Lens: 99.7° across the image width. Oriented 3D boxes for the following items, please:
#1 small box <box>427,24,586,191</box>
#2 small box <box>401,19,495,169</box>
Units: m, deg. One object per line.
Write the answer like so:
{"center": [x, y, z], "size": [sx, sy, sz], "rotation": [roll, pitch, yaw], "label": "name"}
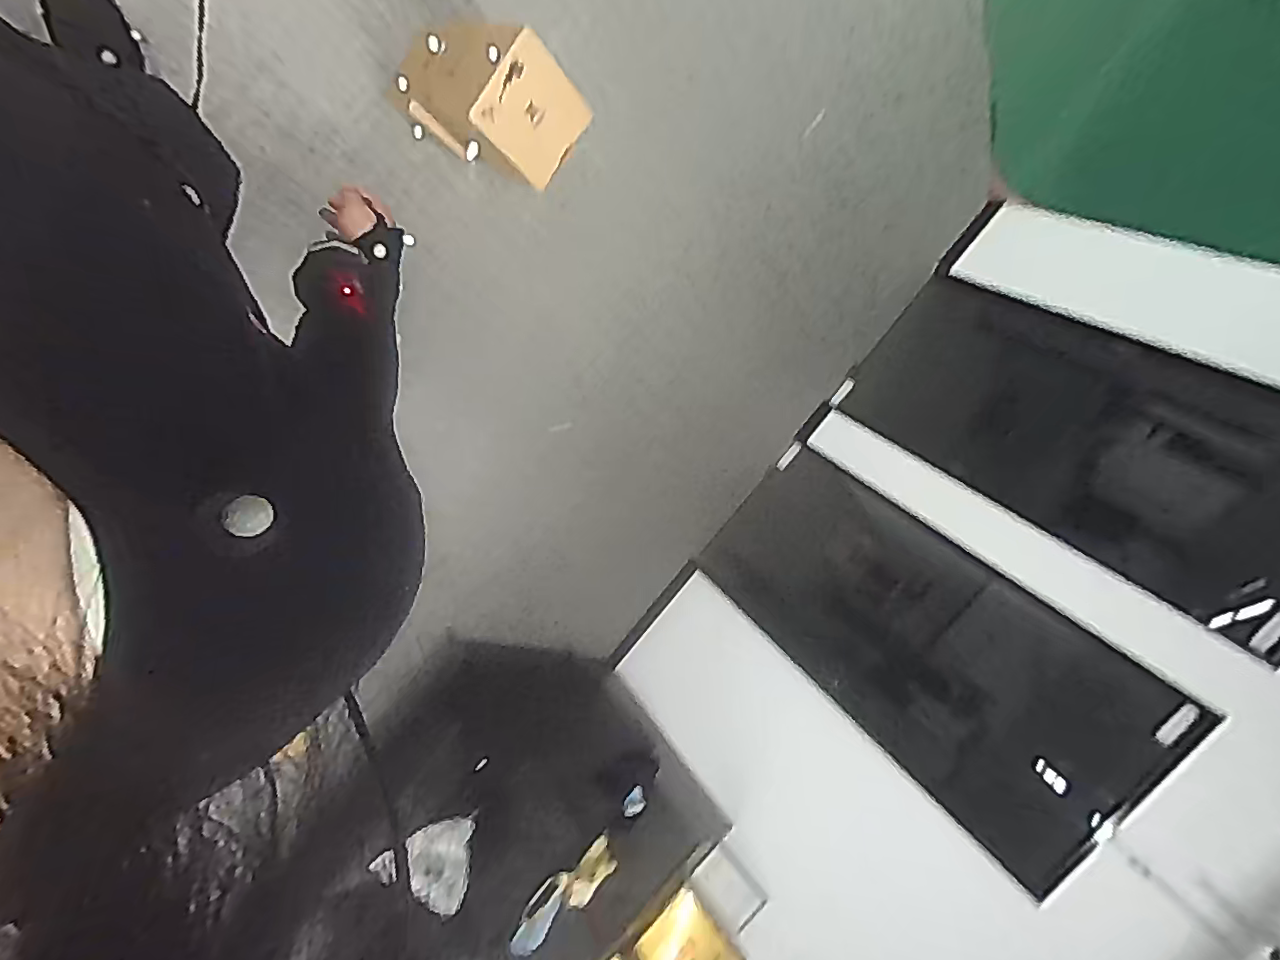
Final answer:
{"center": [-0.237, -0.661, 0.958], "size": [0.168, 0.176, 0.179], "rotation": [-52, 145, 6], "label": "small box"}
{"center": [-0.327, -0.756, 1.058], "size": [0.168, 0.176, 0.179], "rotation": [-52, 143, 6], "label": "small box"}
